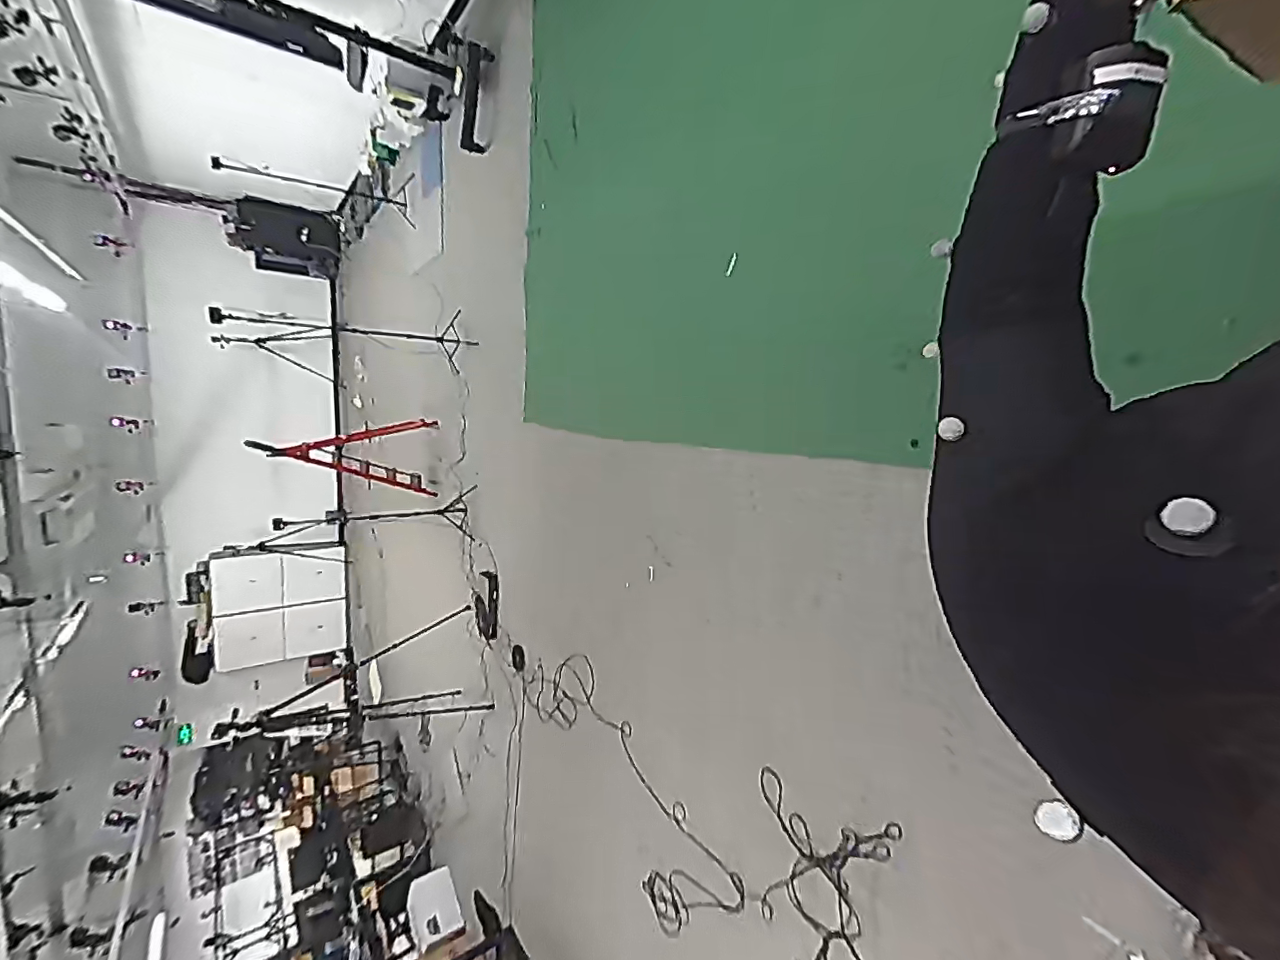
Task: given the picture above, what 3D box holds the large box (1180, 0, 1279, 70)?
[{"bbox_3d":[0.573,-0.455,0.230,0.408,0.320,0.320,17,116,56],"label":"large box"}]
